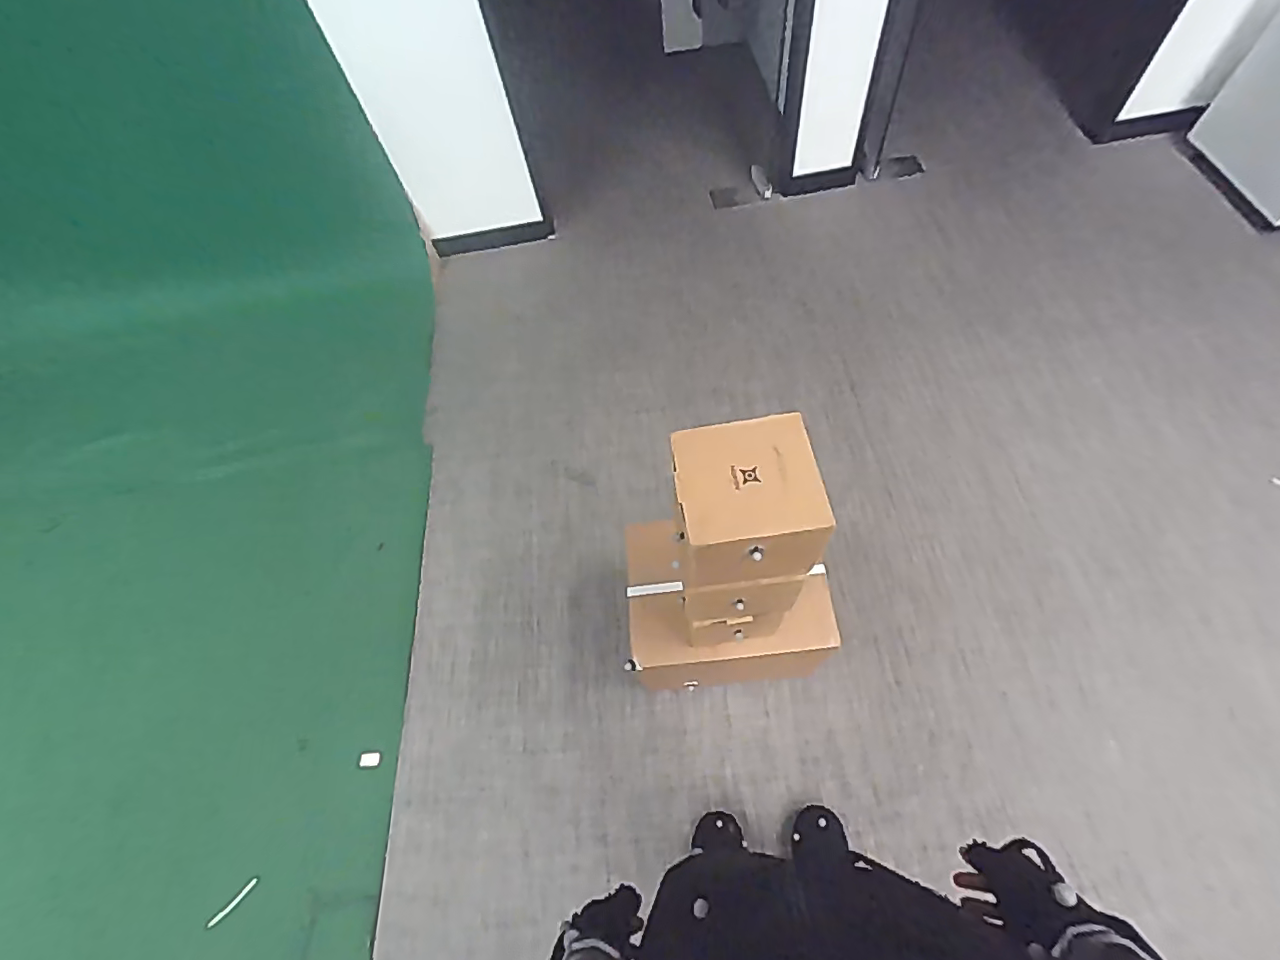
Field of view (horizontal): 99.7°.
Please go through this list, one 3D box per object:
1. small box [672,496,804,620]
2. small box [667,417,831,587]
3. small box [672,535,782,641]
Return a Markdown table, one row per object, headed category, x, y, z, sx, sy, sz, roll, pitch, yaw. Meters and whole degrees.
| category | x | y | z | sx | sy | sz | roll | pitch | yaw |
| --- | --- | --- | --- | --- | --- | --- | --- | --- | --- |
| small box | 0.150 | 0.121 | 0.879 | 0.179 | 0.176 | 0.168 | -8 | 61 | 3 |
| small box | 0.138 | 0.038 | 0.741 | 0.179 | 0.176 | 0.168 | -9 | 62 | 1 |
| small box | 0.160 | 0.199 | 1.024 | 0.168 | 0.176 | 0.179 | -10 | 62 | 1 |
